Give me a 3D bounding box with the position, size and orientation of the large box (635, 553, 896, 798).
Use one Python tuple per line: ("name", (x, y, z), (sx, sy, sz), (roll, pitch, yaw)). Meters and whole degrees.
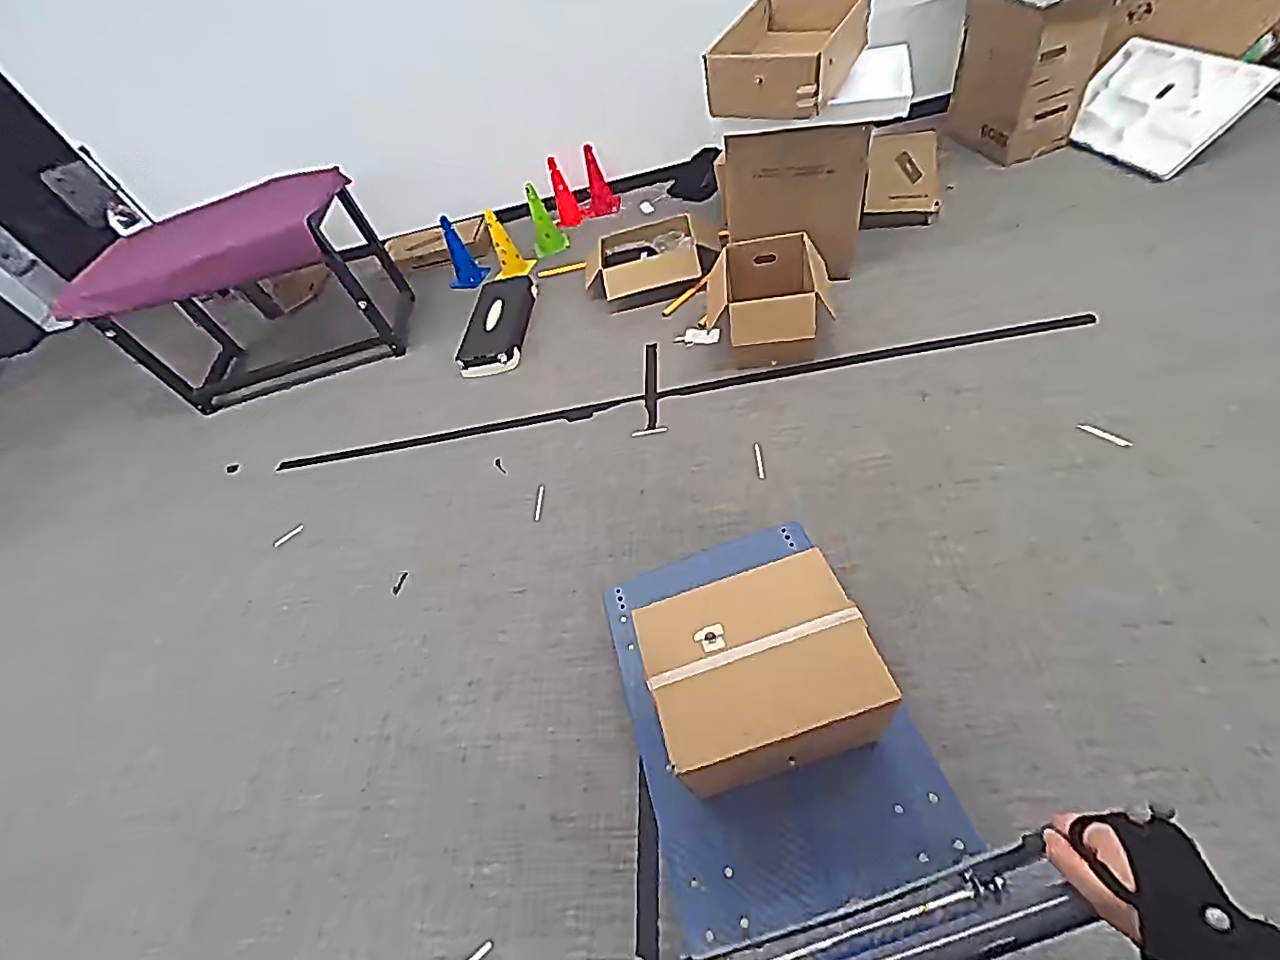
("large box", (0.248, 0.414, 1.124), (0.408, 0.320, 0.320), (-20, 50, 1))
